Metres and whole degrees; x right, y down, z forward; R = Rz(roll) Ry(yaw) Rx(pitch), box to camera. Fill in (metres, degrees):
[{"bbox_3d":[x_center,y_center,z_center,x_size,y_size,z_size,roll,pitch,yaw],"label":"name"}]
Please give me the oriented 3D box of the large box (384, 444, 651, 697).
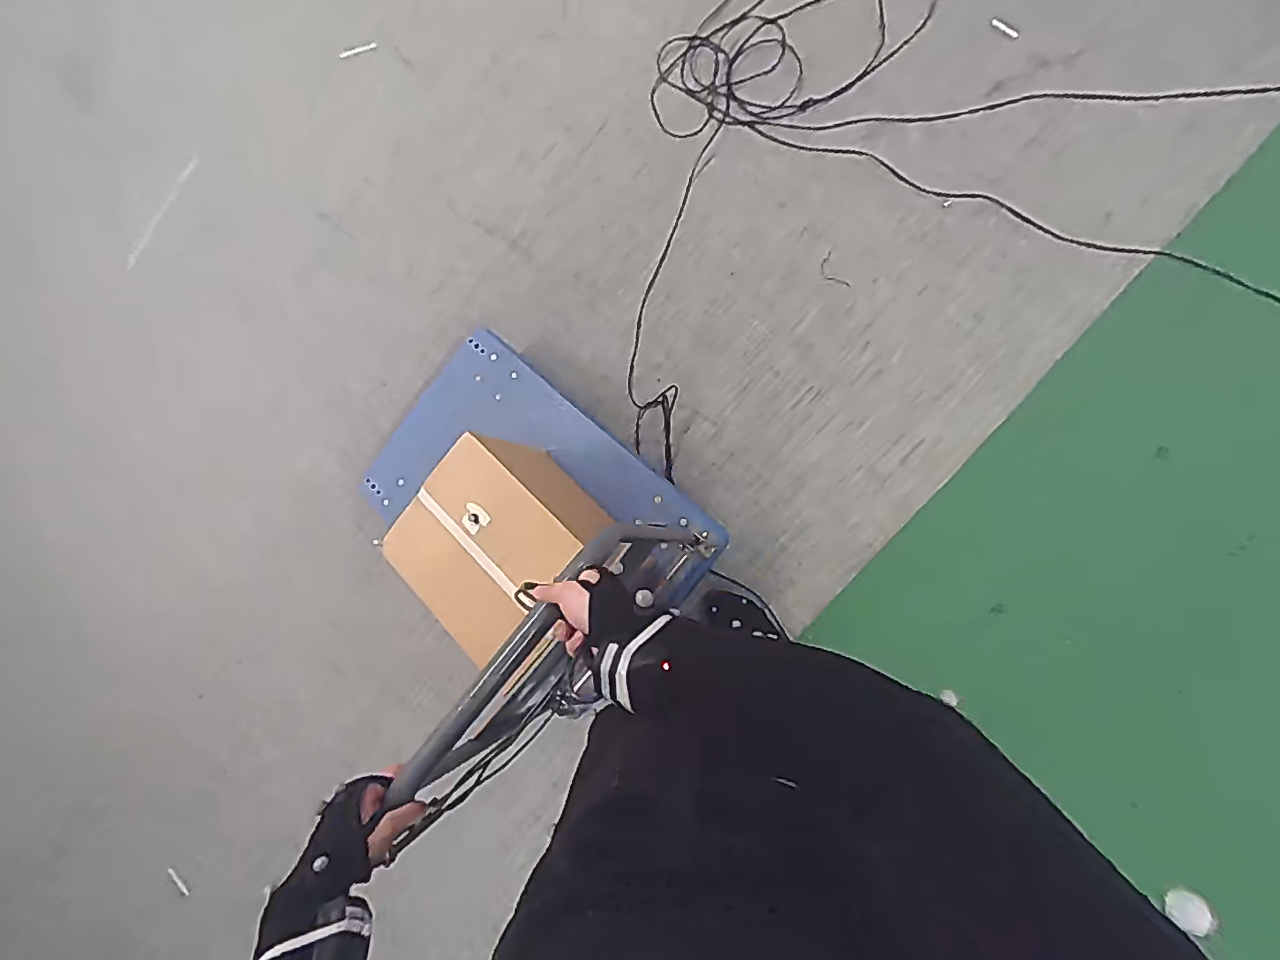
[{"bbox_3d":[-0.248,0.182,1.177,0.408,0.320,0.320,43,96,17],"label":"large box"}]
